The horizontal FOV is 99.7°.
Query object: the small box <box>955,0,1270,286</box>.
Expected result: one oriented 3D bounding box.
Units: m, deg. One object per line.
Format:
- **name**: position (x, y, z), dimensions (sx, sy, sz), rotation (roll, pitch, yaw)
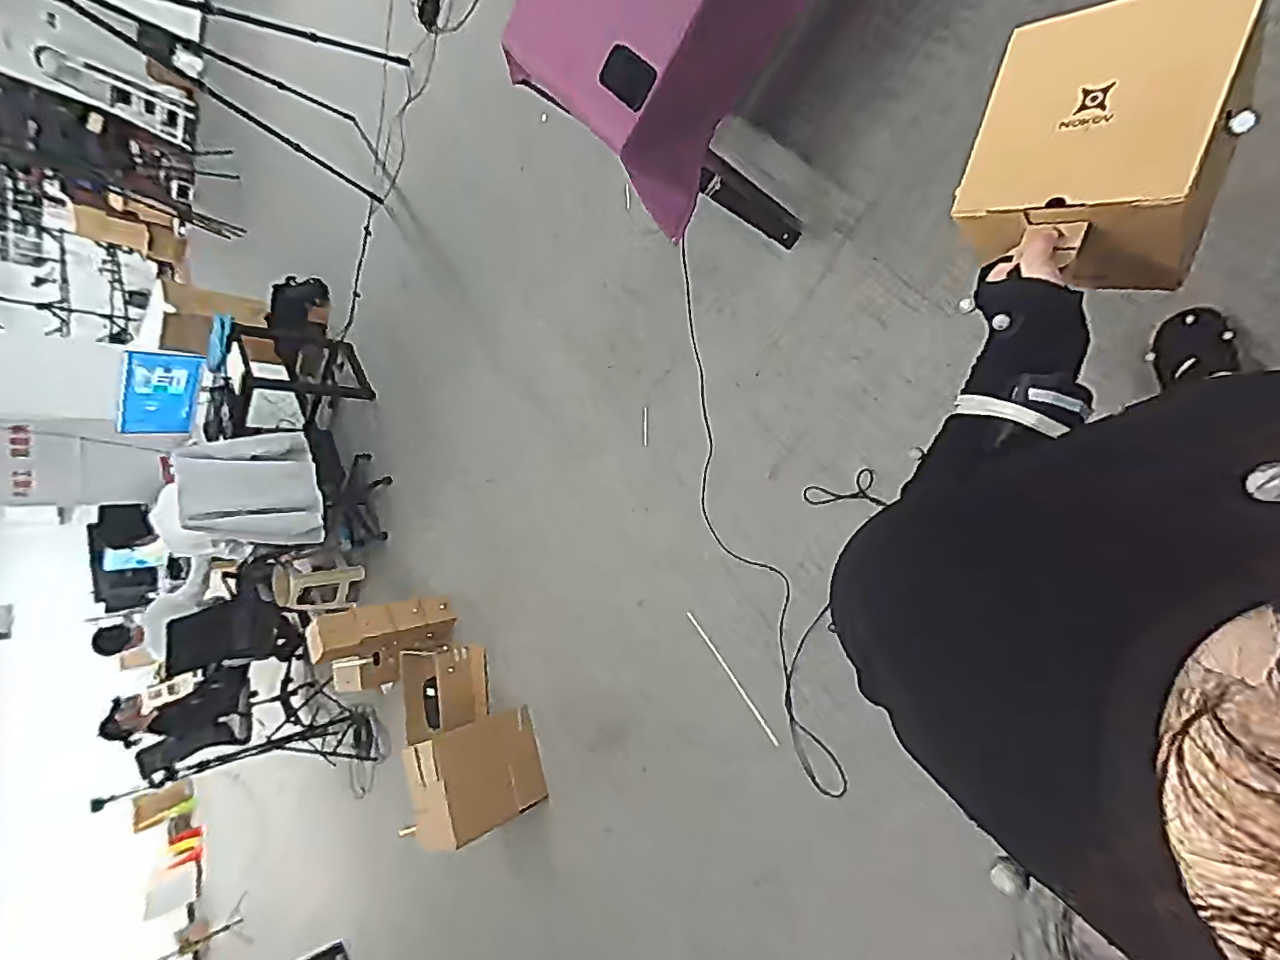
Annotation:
- **small box**: position (0.431, -0.304, 0.509), dimensions (0.168, 0.176, 0.179), rotation (22, 98, 43)
